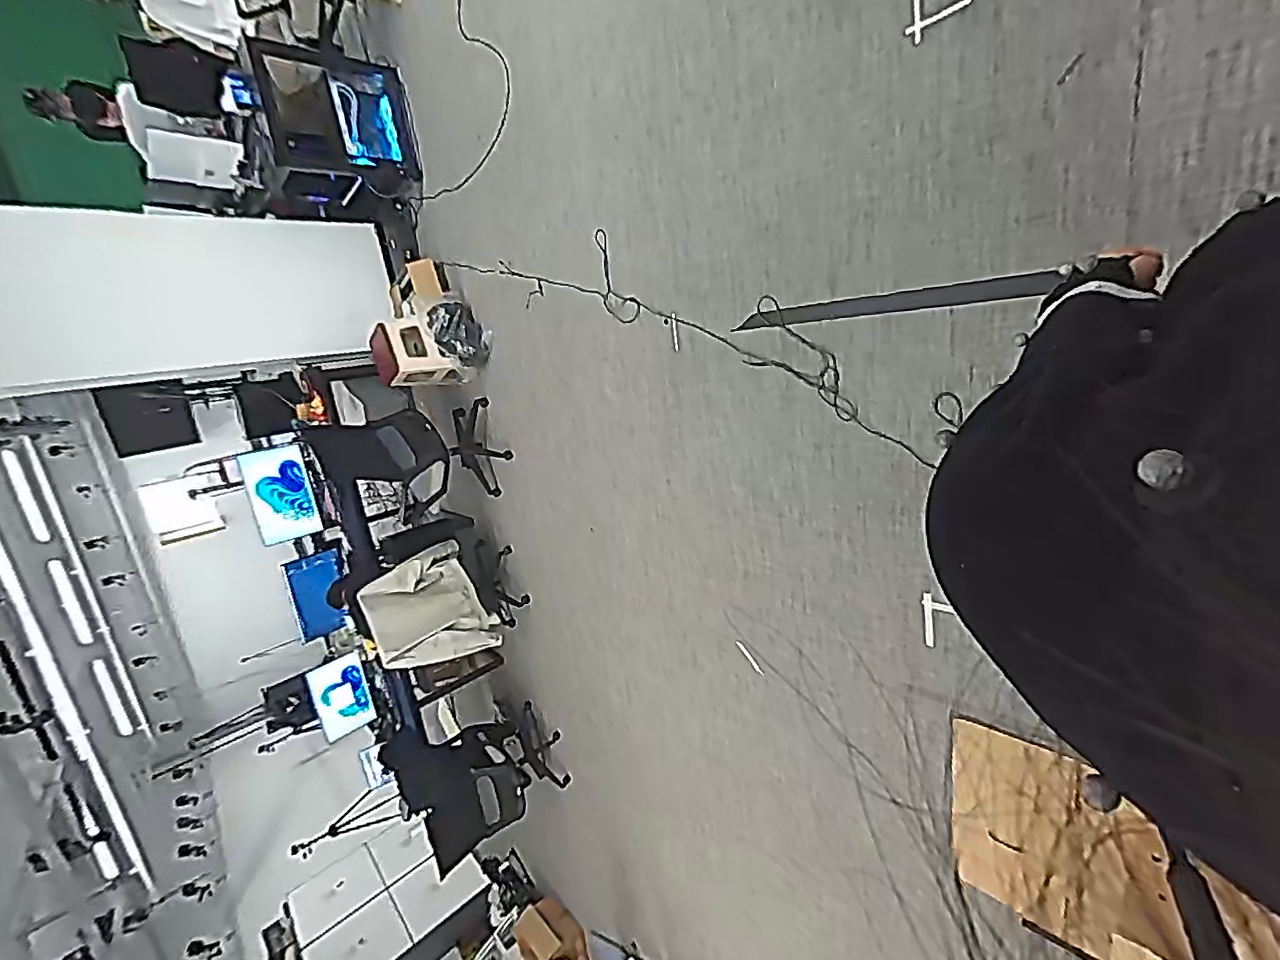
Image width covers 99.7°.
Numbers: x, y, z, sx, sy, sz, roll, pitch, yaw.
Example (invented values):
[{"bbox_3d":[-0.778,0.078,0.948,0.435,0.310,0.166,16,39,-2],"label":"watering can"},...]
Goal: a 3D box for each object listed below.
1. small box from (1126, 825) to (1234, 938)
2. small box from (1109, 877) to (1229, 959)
[{"bbox_3d":[1.226,0.944,1.234,0.168,0.176,0.179,6,110,49],"label":"small box"},{"bbox_3d":[1.106,0.999,1.136,0.168,0.176,0.179,10,113,47],"label":"small box"}]
